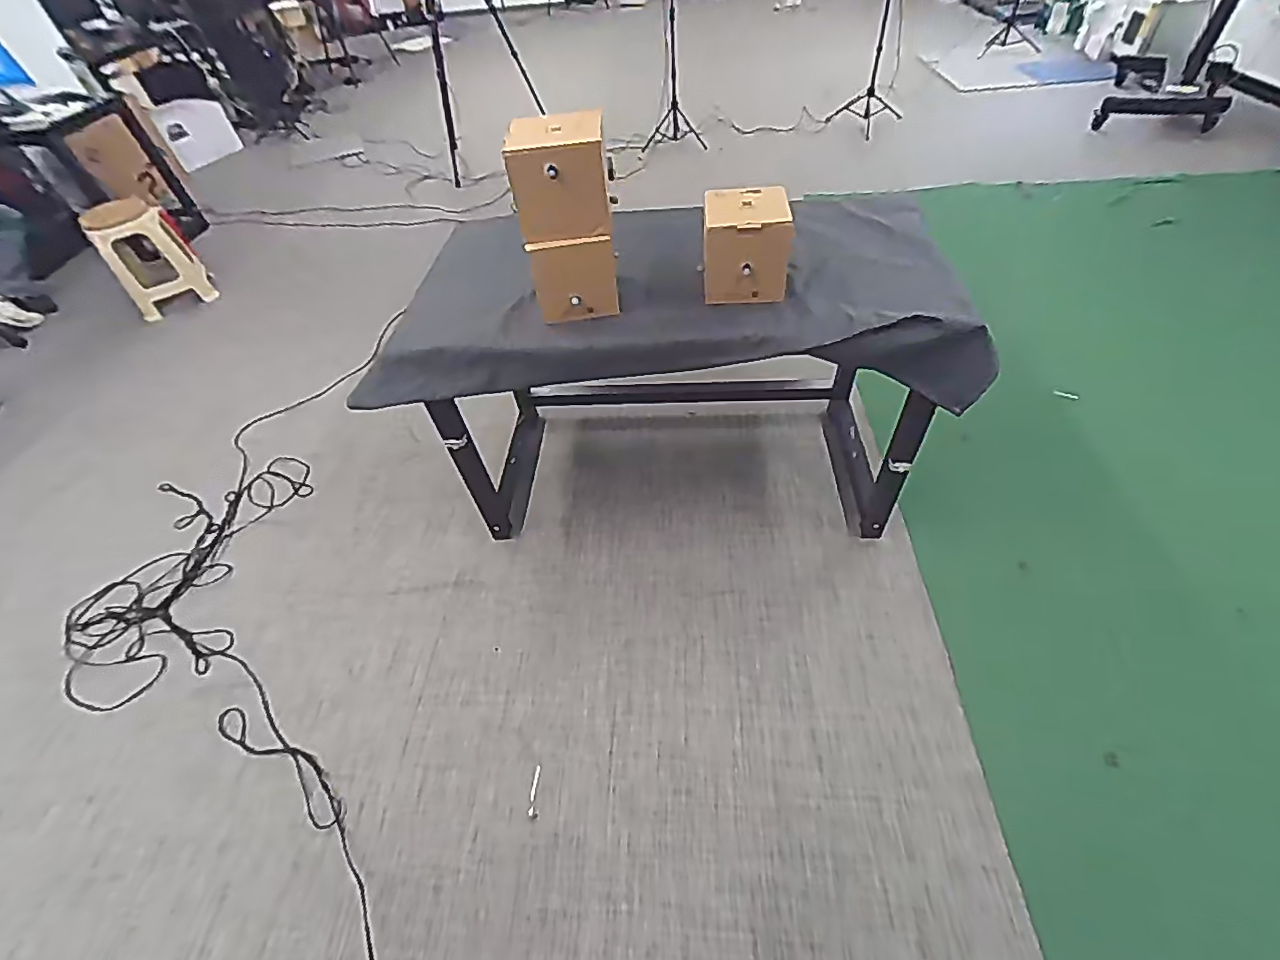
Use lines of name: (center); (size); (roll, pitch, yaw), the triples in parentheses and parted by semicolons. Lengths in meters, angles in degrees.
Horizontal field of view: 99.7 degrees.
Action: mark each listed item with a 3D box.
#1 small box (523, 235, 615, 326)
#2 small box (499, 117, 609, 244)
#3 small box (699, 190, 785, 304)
small box: (-0.148, -0.454, 1.154); (0.168, 0.176, 0.179); (-9, 49, -1)
small box: (-0.157, -0.572, 1.042); (0.179, 0.176, 0.168); (-5, 50, 0)
small box: (0.210, -0.489, 1.148); (0.168, 0.176, 0.179); (-1, 49, 6)
